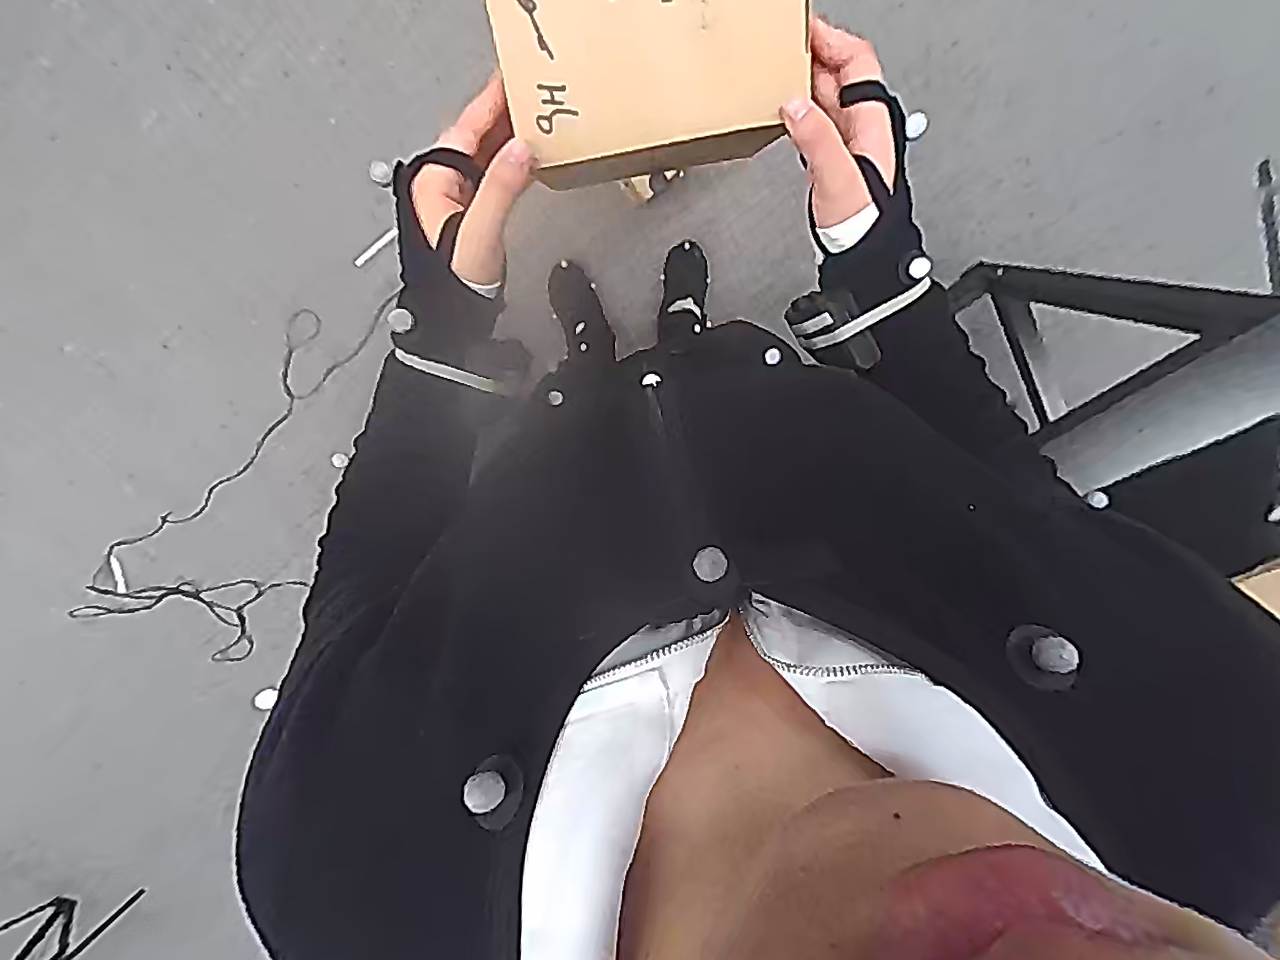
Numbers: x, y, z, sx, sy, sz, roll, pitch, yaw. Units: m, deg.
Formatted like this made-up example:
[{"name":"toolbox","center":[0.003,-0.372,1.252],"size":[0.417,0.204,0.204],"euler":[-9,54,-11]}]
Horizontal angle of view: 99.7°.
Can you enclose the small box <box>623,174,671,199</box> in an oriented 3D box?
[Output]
[{"name":"small box","center":[0.015,-0.652,1.008],"size":[0.179,0.176,0.168],"euler":[-40,112,13]}]

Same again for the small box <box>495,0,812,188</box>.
[{"name":"small box","center":[0.002,-0.309,0.366],"size":[0.179,0.176,0.168],"euler":[-10,113,2]}]
